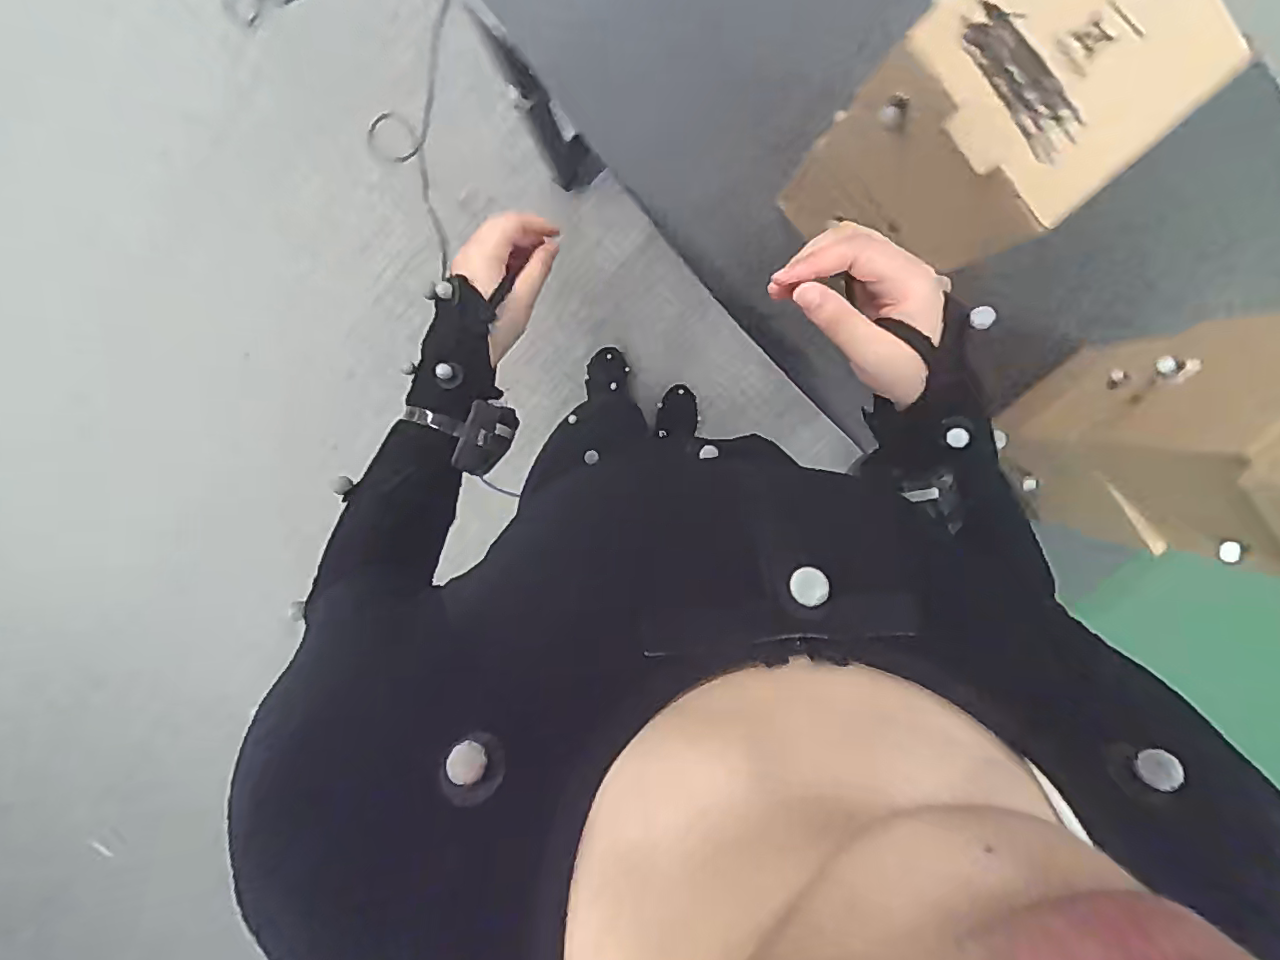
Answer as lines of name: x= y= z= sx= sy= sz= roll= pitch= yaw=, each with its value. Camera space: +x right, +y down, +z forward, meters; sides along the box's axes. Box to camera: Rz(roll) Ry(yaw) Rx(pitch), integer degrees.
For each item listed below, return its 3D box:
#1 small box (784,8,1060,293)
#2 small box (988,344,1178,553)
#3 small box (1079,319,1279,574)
small box: x=0.286 y=-0.334 z=0.595 sx=0.168 sy=0.176 sz=0.179 roll=-42 pitch=96 yaw=7
small box: x=0.569 y=-0.048 z=0.638 sx=0.179 sy=0.176 sz=0.168 roll=-39 pitch=96 yaw=6
small box: x=0.561 y=-0.031 z=0.476 sx=0.179 sy=0.176 sz=0.168 roll=43 pitch=95 yaw=-5
